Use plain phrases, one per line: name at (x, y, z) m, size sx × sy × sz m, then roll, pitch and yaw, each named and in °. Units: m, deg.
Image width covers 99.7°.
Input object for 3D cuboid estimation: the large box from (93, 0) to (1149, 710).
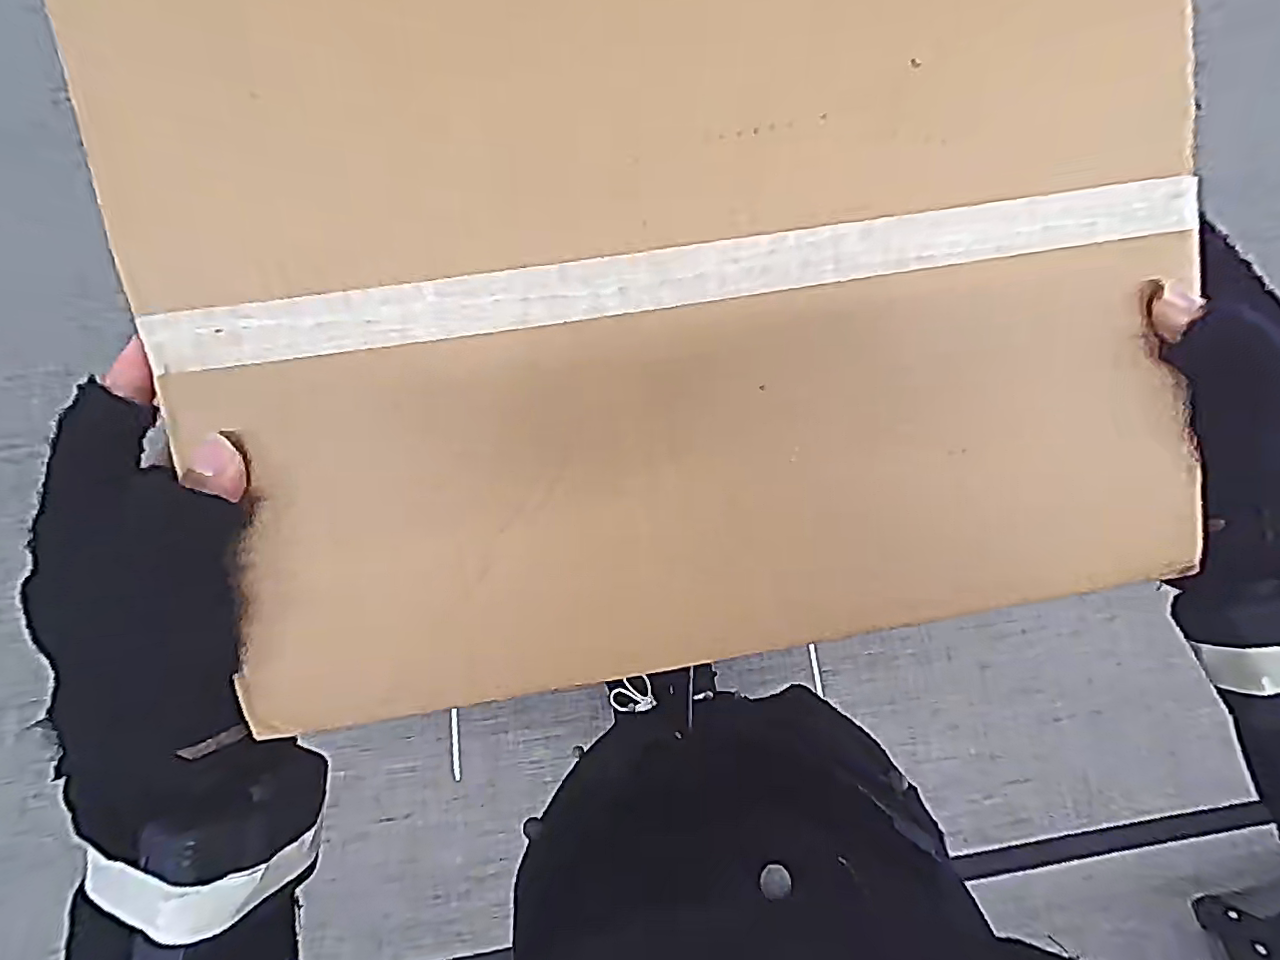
large box at (0.009, -0.103, 0.368) m, size 0.408 × 0.320 × 0.320 m, roll -9°, pitch 98°, yaw -4°
